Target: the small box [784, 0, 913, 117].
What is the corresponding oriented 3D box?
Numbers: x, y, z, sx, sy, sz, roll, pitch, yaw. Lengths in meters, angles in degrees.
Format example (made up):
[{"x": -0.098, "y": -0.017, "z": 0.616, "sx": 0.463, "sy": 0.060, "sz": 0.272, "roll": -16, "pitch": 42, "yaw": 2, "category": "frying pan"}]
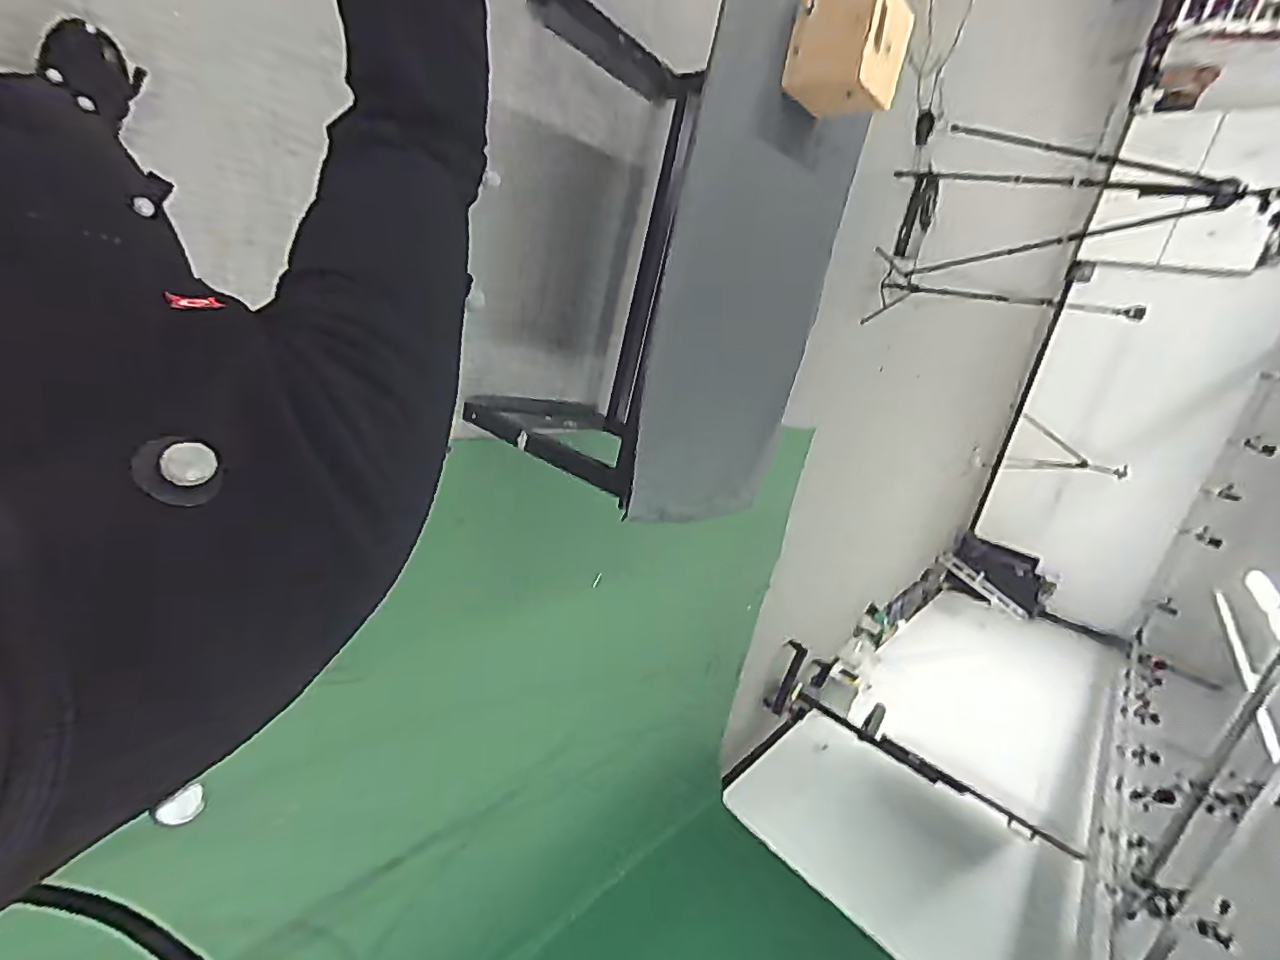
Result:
[{"x": 0.416, "y": -0.854, "z": 1.090, "sx": 0.179, "sy": 0.176, "sz": 0.168, "roll": -10, "pitch": 118, "yaw": -47, "category": "small box"}]
